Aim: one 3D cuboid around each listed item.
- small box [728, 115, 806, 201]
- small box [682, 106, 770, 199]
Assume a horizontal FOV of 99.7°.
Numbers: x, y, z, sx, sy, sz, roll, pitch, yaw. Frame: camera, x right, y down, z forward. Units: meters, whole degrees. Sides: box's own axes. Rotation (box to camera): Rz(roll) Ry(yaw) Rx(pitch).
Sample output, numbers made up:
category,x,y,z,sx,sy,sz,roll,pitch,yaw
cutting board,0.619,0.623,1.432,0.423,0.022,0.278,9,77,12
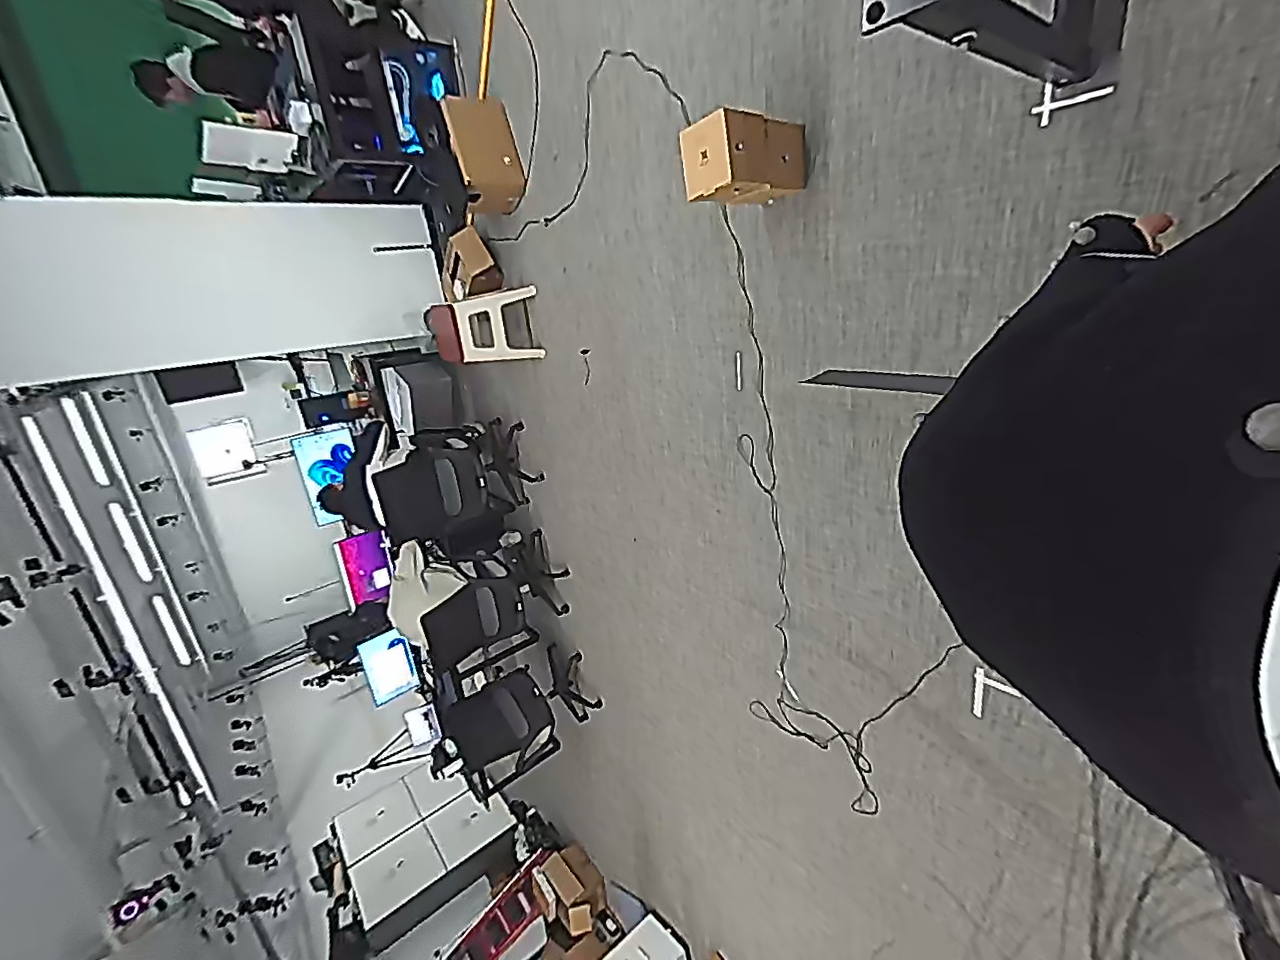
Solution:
category,x,y,z,sx,sy,sz,roll,pitch,yaw
small box,0.366,-0.926,1.573,0.168,0.176,0.179,13,117,50
small box,0.239,-0.886,1.479,0.168,0.176,0.179,7,111,51
